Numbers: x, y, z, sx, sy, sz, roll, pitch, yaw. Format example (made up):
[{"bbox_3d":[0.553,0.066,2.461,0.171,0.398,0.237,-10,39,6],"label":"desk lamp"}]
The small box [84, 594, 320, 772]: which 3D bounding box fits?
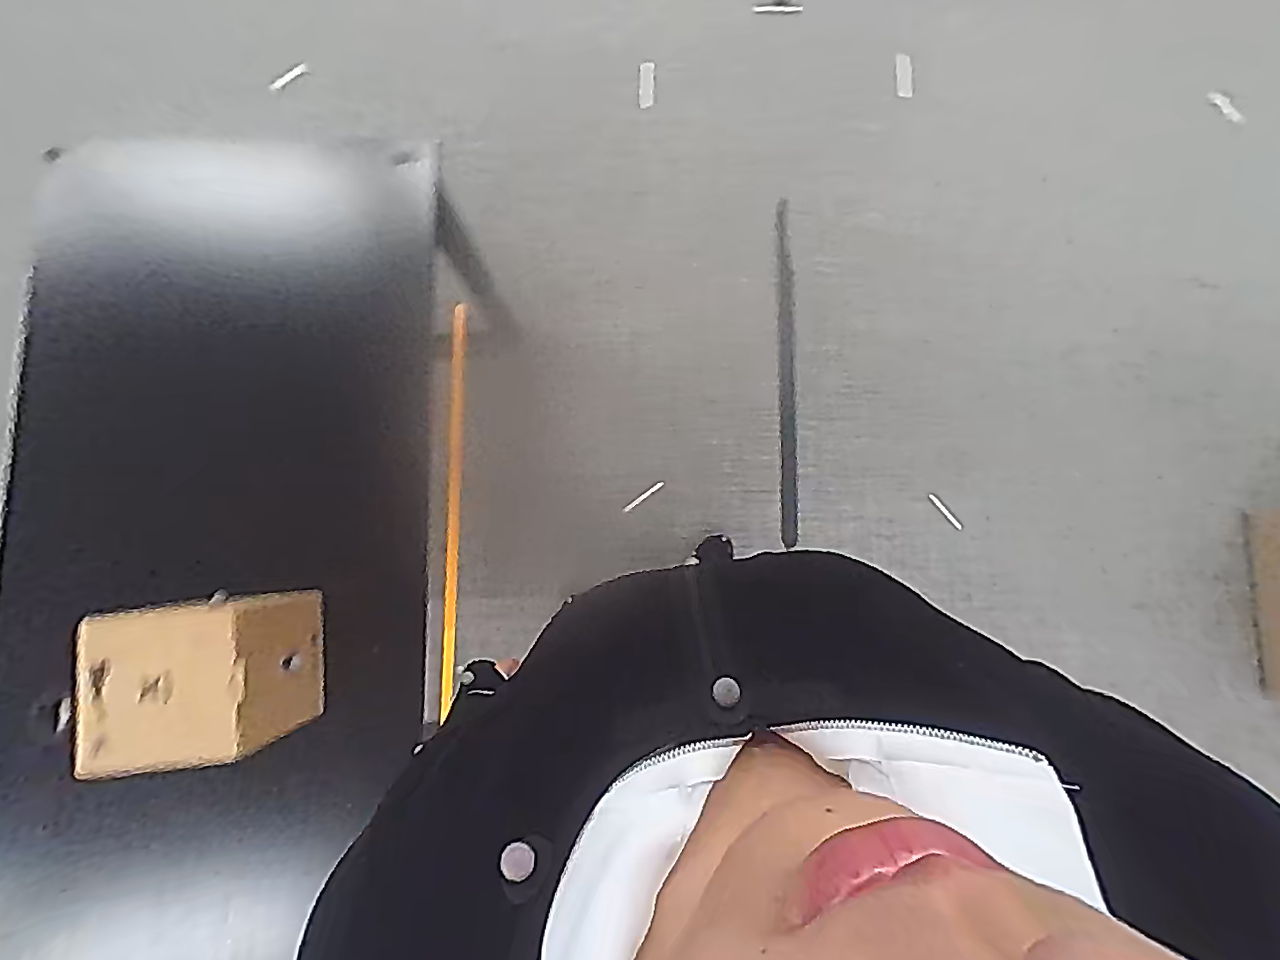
[{"bbox_3d":[-0.529,0.240,0.680,0.179,0.176,0.168,-5,84,-2],"label":"small box"}]
